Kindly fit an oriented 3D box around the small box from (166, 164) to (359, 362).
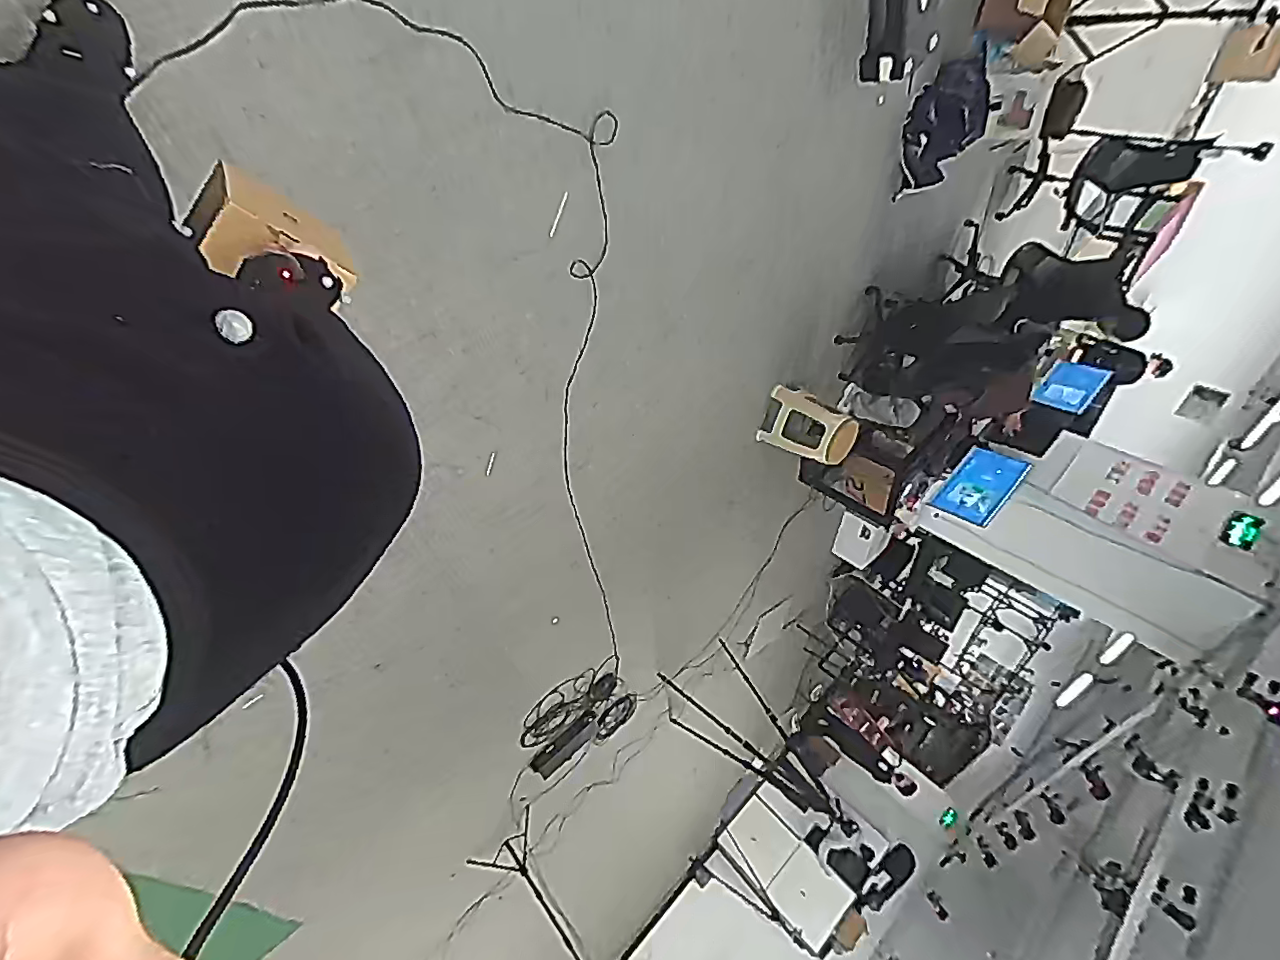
[{"bbox_3d":[-0.538,-0.300,0.771,0.176,0.179,0.168,-49,143,12],"label":"small box"}]
